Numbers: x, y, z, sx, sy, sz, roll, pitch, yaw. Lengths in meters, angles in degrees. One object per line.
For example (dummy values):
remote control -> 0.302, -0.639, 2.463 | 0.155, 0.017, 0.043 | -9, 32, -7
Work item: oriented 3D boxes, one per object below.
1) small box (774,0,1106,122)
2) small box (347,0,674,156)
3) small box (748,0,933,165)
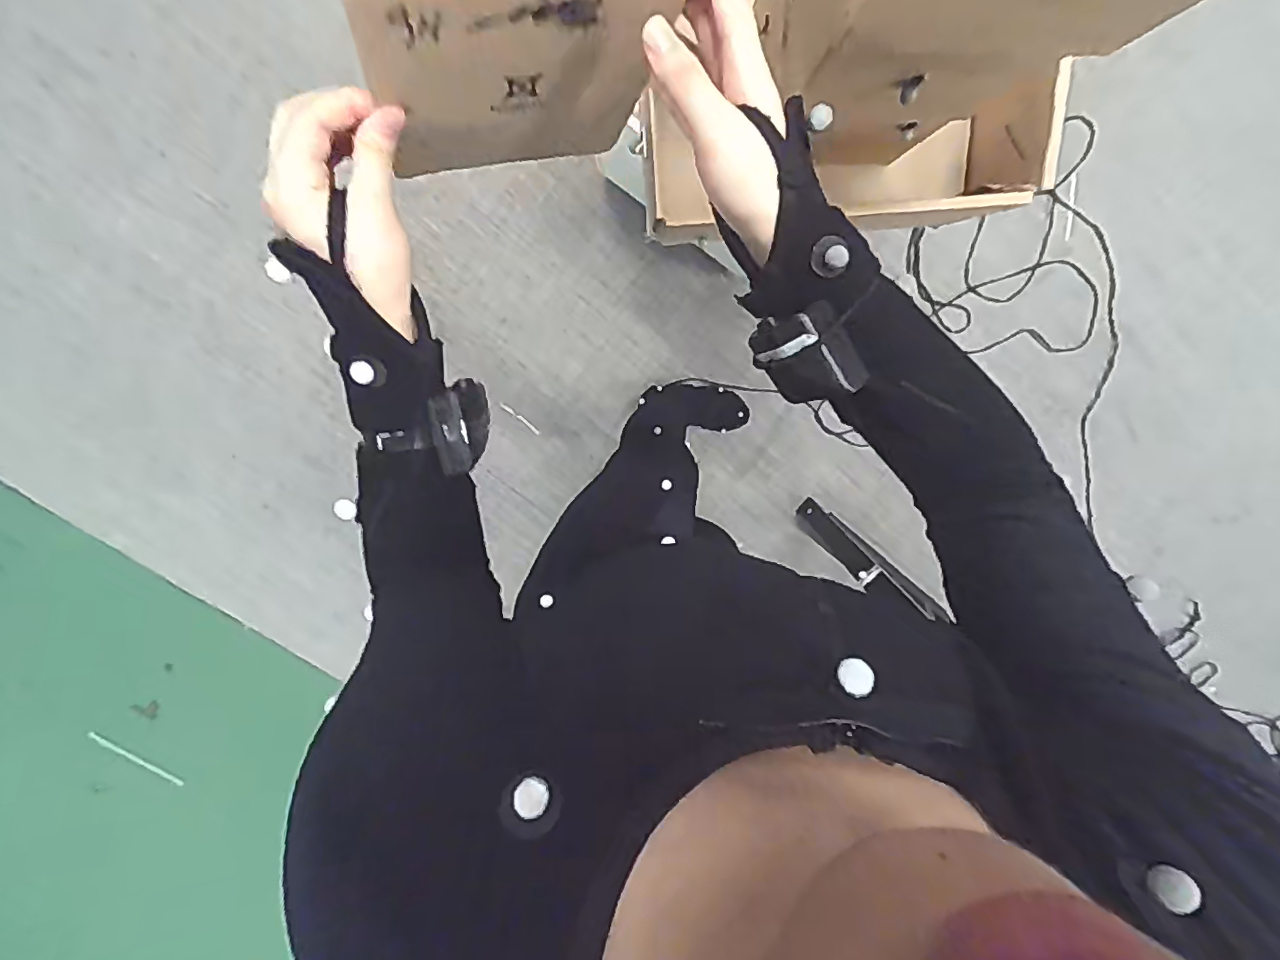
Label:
small box -> 0.208, -0.390, 0.402 | 0.179, 0.176, 0.168 | -2, 105, 2
small box -> -0.092, -0.322, 0.313 | 0.168, 0.179, 0.176 | -15, 98, -15
small box -> 0.210, -0.441, 0.558 | 0.179, 0.176, 0.168 | -2, 105, 2
